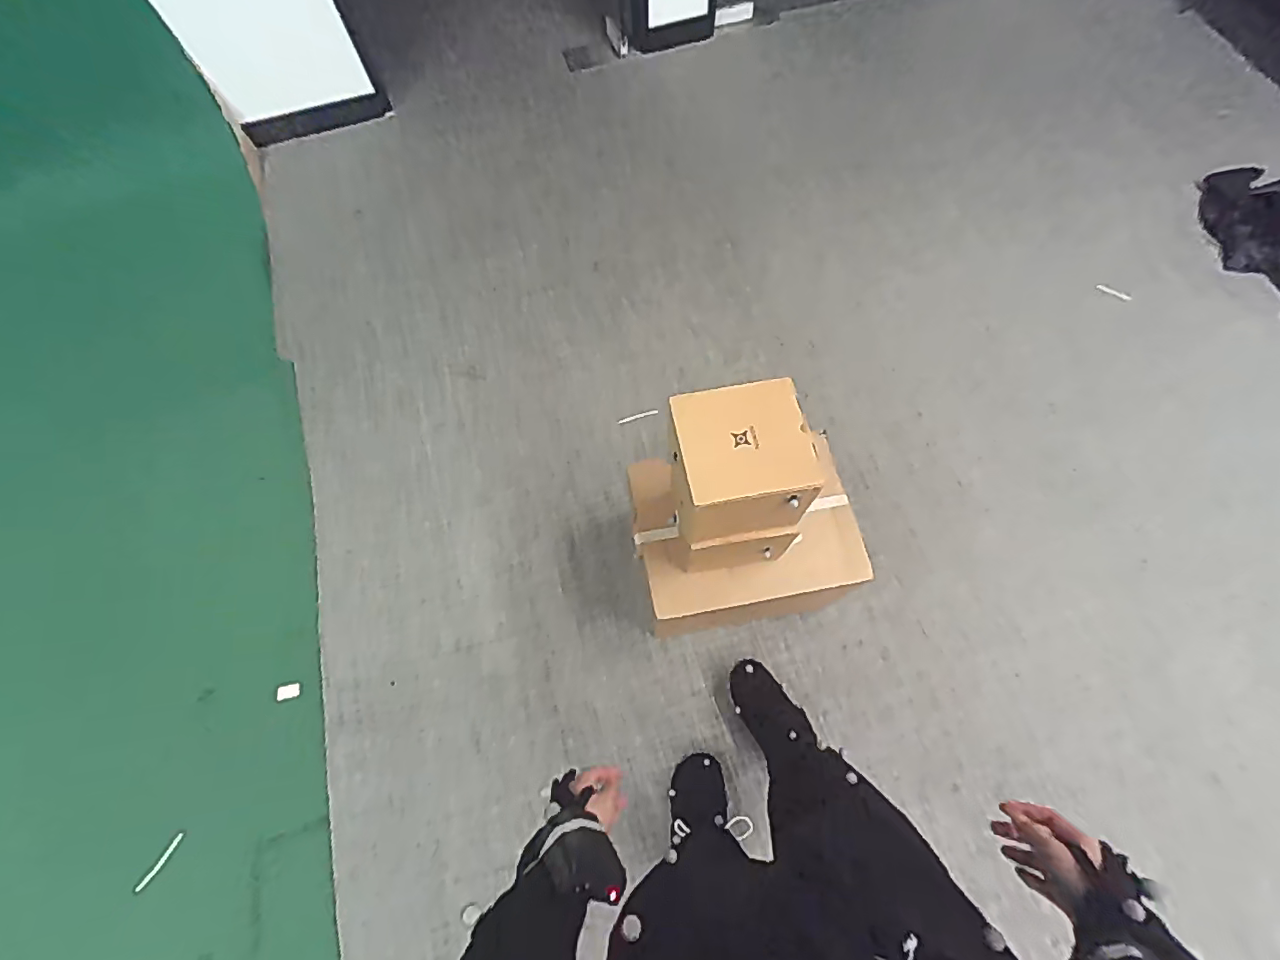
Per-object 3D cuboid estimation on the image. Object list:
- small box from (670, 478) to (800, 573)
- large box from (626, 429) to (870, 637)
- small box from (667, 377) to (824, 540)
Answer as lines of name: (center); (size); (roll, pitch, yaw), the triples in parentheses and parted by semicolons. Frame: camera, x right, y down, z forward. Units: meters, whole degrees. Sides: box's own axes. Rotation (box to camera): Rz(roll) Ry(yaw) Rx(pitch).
small box: (0.151, 0.051, 0.930); (0.179, 0.176, 0.168); (-10, 67, -2)
large box: (0.196, 0.128, 1.159); (0.408, 0.320, 0.320); (-10, 69, -4)
small box: (0.138, -0.023, 0.785); (0.179, 0.176, 0.168); (-10, 67, -3)
